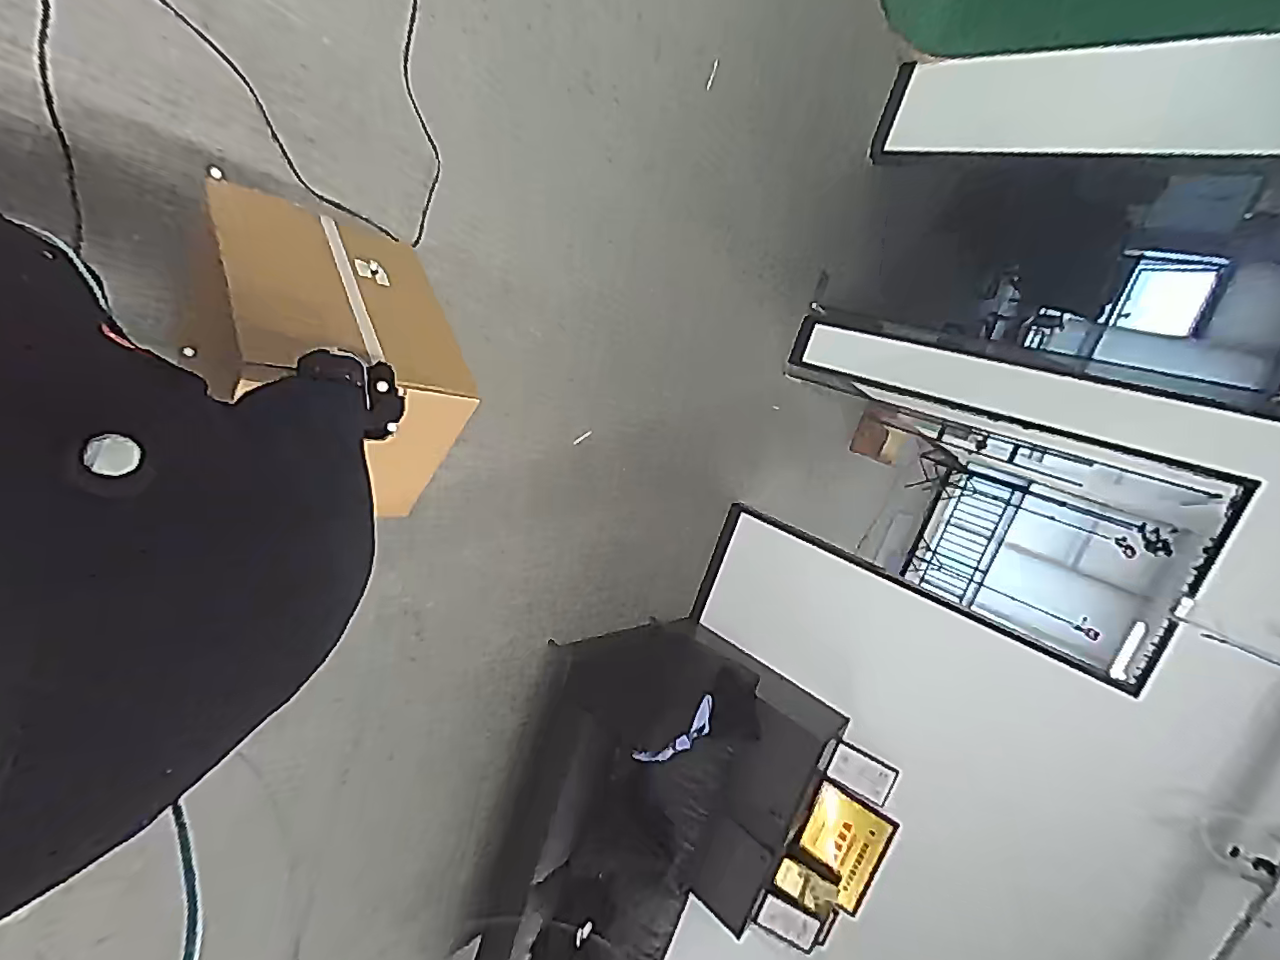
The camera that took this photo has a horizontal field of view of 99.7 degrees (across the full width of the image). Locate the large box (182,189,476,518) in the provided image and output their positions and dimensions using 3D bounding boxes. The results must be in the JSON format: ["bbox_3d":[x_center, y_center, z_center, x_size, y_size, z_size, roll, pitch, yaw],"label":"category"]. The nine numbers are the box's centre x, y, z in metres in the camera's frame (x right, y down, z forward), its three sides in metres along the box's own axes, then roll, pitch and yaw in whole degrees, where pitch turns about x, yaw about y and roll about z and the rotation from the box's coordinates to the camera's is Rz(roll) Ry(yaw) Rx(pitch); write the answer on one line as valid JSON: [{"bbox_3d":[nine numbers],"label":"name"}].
[{"bbox_3d":[-0.538,-0.188,0.911,0.320,0.408,0.320,2,139,-48],"label":"large box"}]
